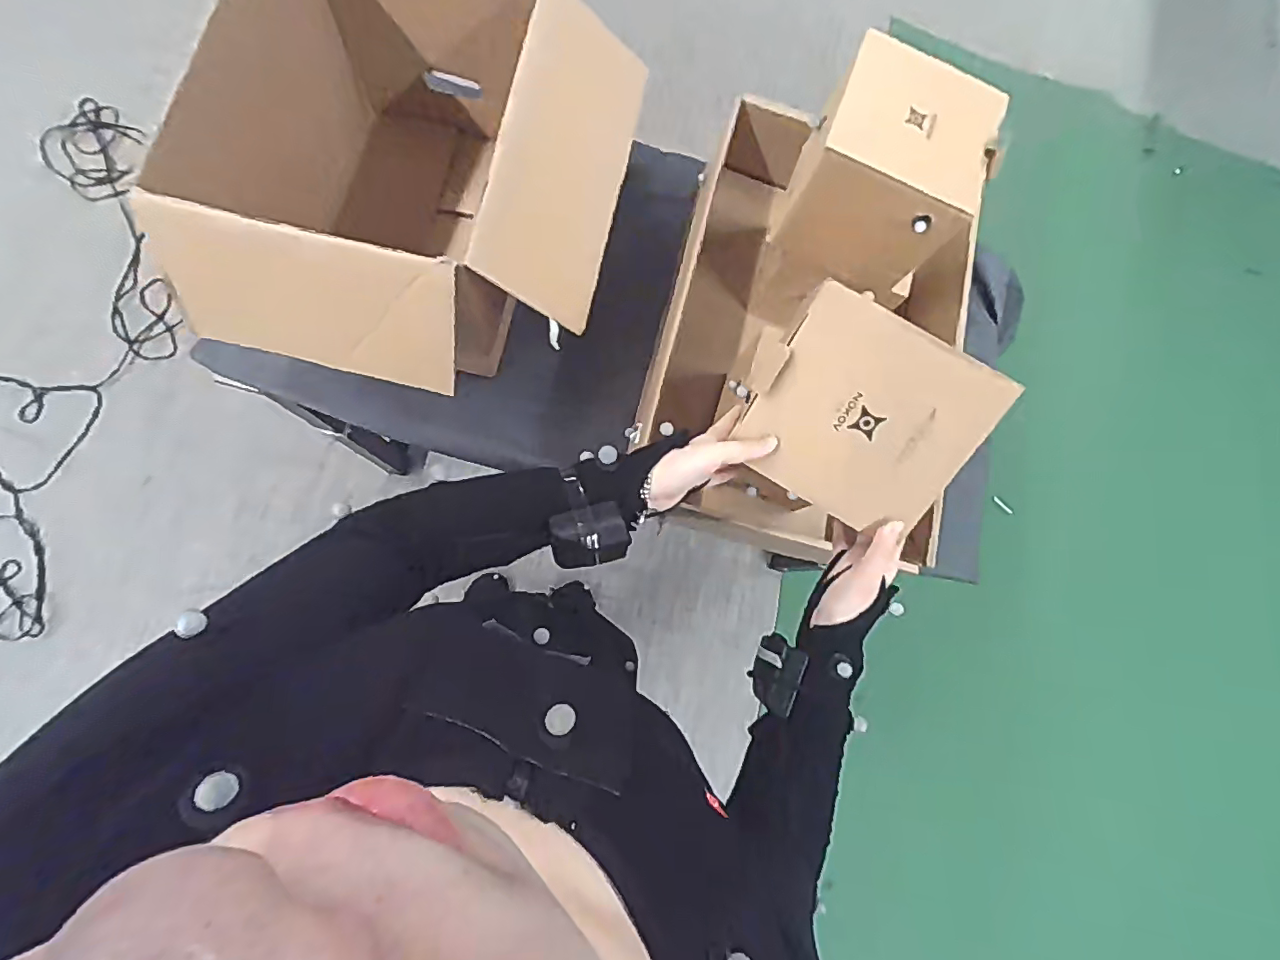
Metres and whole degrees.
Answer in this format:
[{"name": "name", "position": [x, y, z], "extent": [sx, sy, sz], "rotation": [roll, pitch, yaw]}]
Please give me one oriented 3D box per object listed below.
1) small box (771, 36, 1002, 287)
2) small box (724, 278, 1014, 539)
[{"name": "small box", "position": [0.284, -0.367, 0.657], "extent": [0.179, 0.176, 0.168], "rotation": [23, 79, -5]}, {"name": "small box", "position": [0.201, -0.076, 0.531], "extent": [0.179, 0.176, 0.168], "rotation": [30, 111, 2]}]
